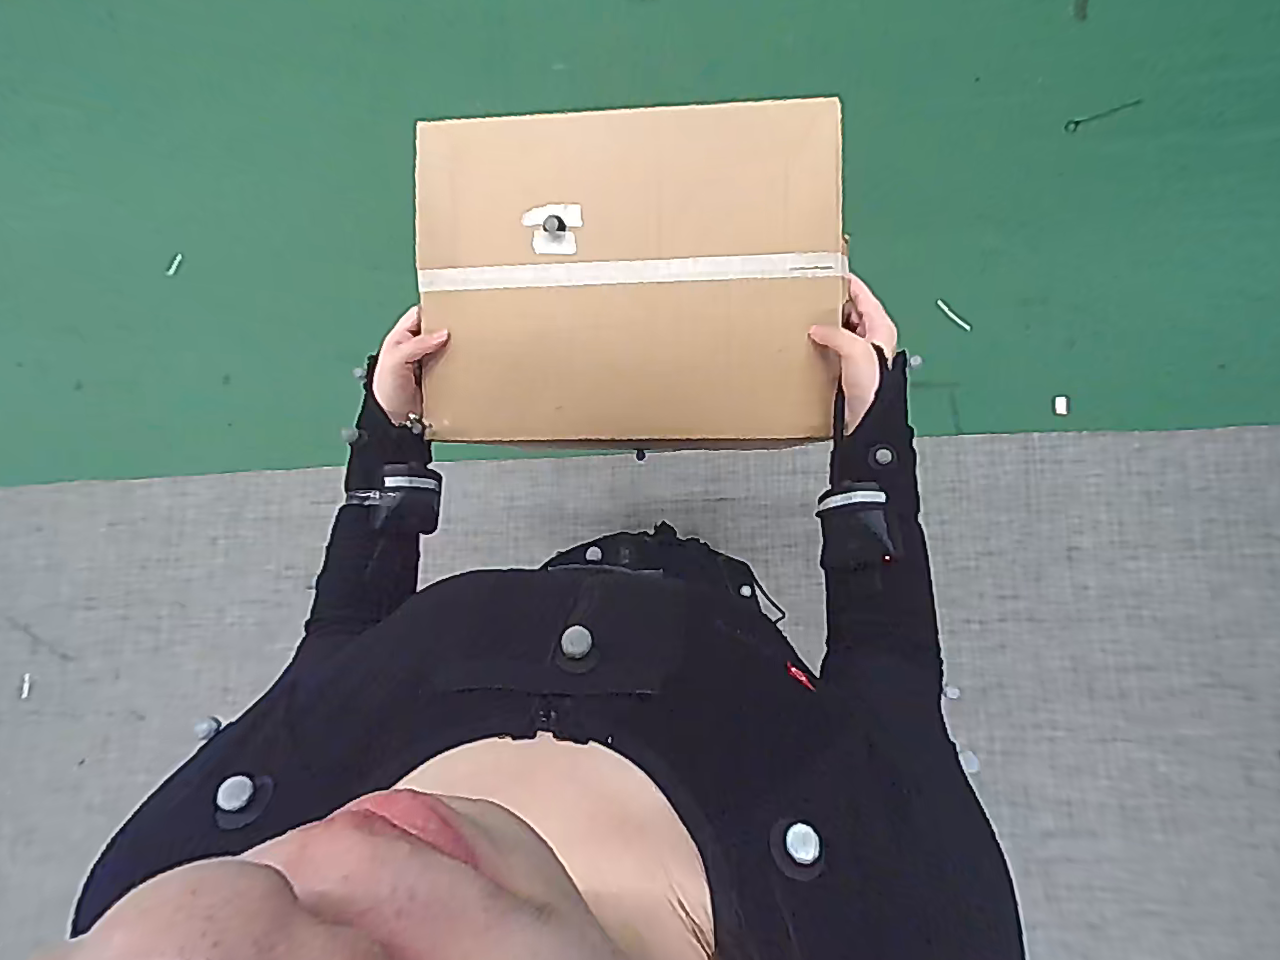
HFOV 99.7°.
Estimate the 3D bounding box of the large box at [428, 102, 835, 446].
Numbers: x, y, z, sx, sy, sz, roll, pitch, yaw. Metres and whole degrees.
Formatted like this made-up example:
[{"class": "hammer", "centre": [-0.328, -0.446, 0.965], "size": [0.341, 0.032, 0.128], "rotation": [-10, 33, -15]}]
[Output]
[{"class": "large box", "centre": [0.003, -0.202, 0.677], "size": [0.408, 0.320, 0.320], "rotation": [0, 91, 7]}]
